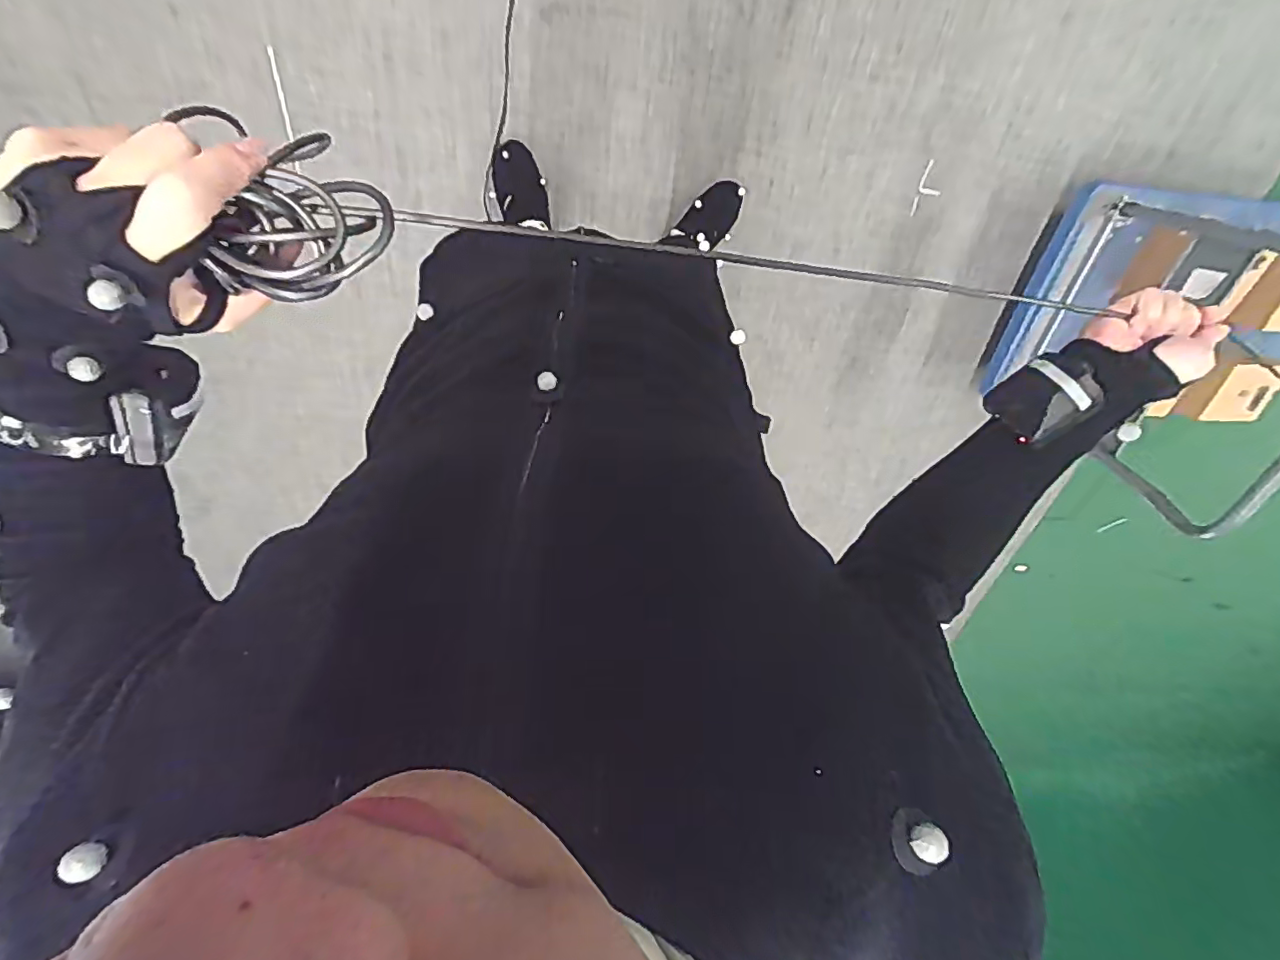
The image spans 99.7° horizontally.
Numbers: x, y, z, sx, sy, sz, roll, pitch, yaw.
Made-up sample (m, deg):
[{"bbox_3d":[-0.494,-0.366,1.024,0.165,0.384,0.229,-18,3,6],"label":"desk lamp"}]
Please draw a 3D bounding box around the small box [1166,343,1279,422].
[{"bbox_3d":[1.588,-0.273,1.503,0.179,0.176,0.168,0,125,-5],"label":"small box"}]

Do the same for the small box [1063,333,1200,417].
[{"bbox_3d":[1.321,-0.287,1.469,0.179,0.176,0.168,4,125,-7],"label":"small box"}]

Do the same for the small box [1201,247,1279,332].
[{"bbox_3d":[1.599,-0.479,1.359,0.179,0.176,0.168,0,126,-5],"label":"small box"}]
